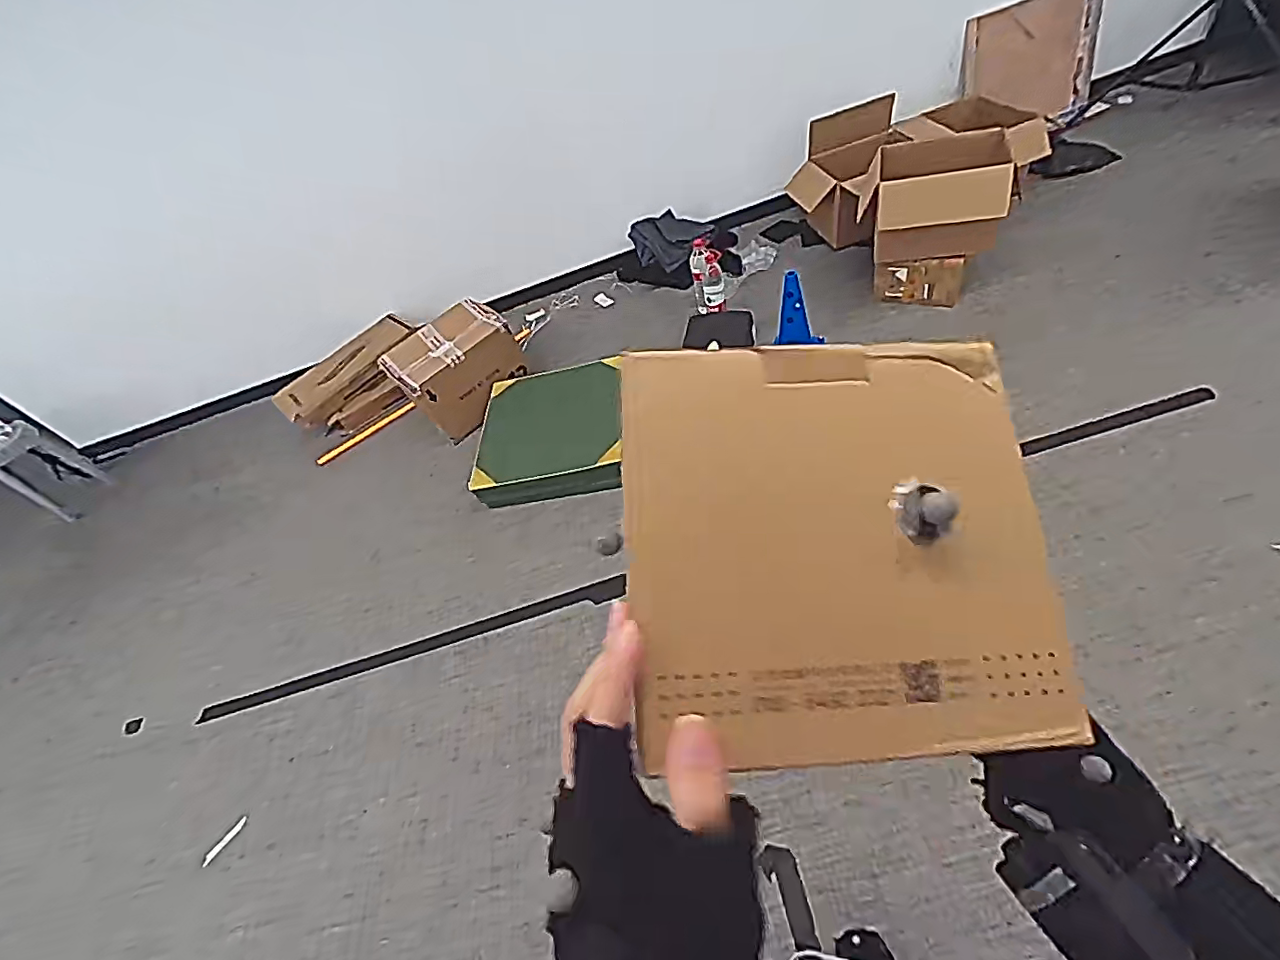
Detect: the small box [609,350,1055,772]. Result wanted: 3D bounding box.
[{"bbox_3d":[0.076,0.050,0.296,0.168,0.179,0.176,-4,75,0],"label":"small box"}]
